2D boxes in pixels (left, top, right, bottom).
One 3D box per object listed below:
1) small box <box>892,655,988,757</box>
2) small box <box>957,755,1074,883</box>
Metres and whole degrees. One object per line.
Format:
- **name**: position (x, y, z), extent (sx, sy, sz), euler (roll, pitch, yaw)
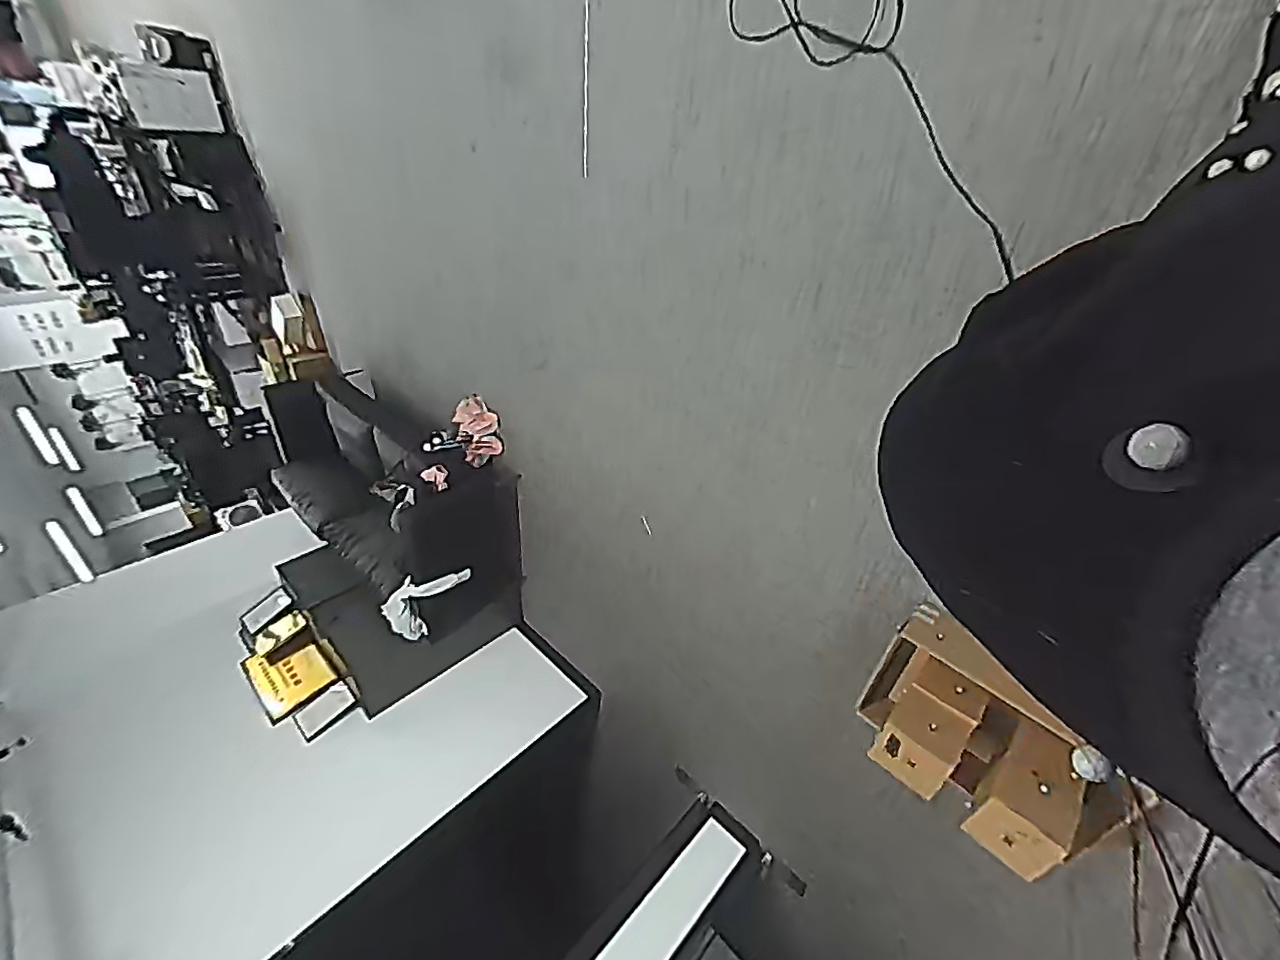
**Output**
- **small box**: position (0.869, 0.645, 1.561), extent (0.179, 0.176, 0.168), euler (29, 128, 32)
- **small box**: position (0.929, 0.829, 1.334), extent (0.168, 0.176, 0.179), euler (34, 132, 31)
